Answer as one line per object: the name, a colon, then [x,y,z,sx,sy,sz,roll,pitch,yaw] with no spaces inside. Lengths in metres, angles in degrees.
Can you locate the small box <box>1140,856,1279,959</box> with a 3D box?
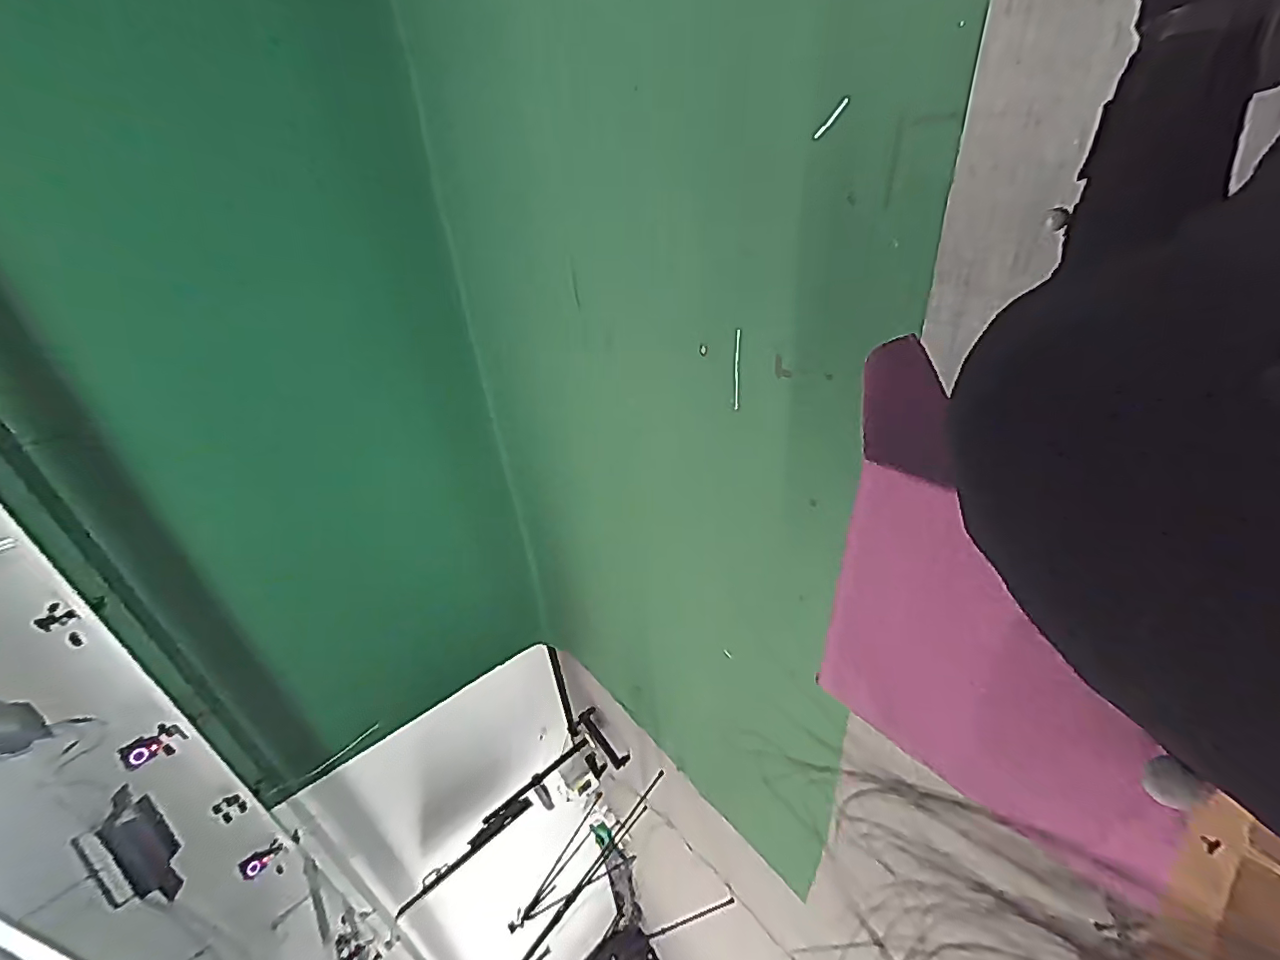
small box: [0.585,0.500,0.489,0.168,0.176,0.179,32,136,41]

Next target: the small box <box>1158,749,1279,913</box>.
small box: [0.710,0.430,0.570,0.168,0.176,0.179,33,138,41]
